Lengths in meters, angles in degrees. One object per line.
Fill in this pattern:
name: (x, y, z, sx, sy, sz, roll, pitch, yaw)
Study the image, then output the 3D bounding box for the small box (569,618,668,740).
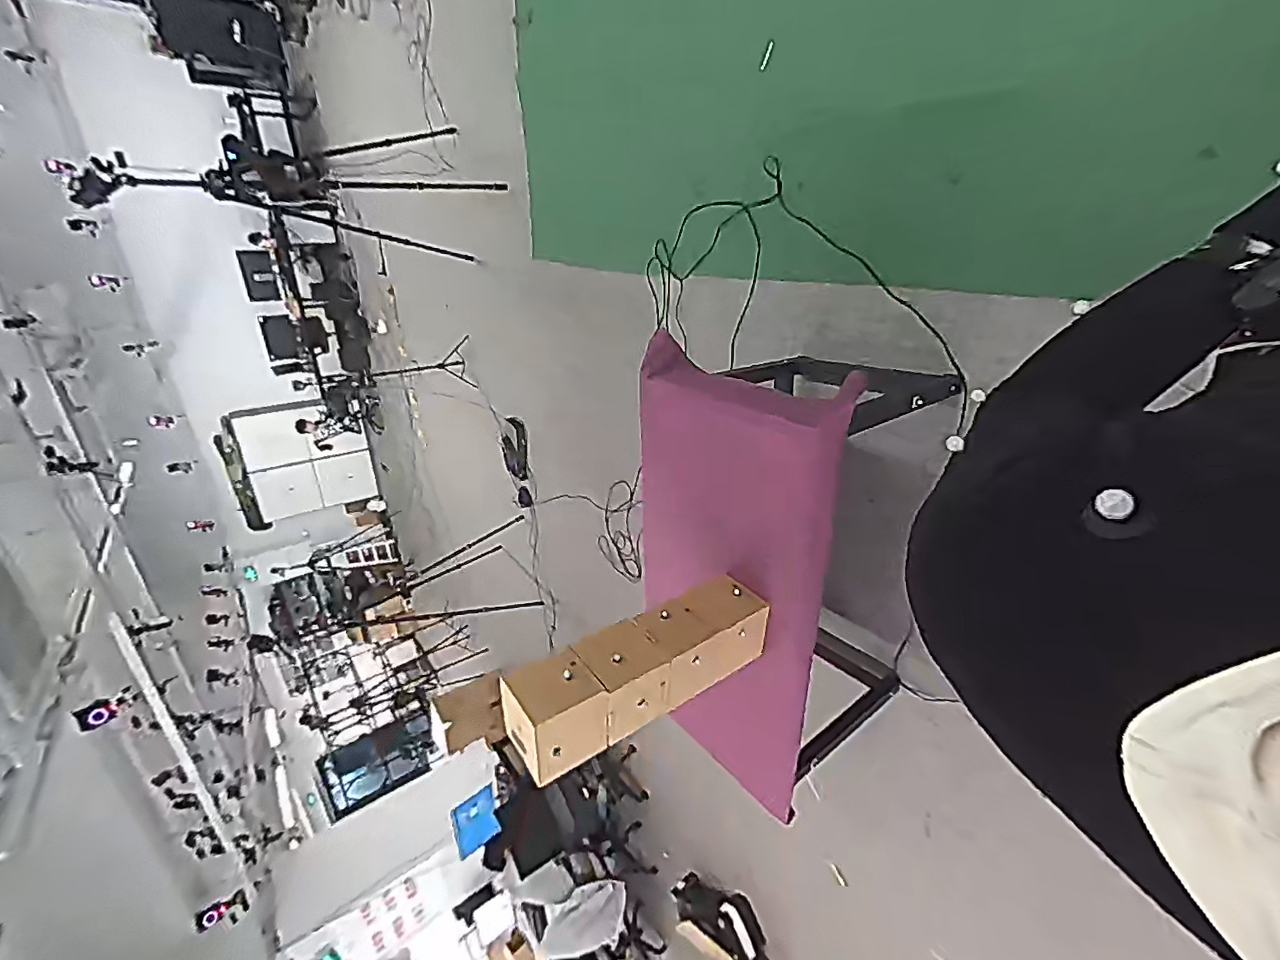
small box: (-0.053, 0.450, 1.255, 0.179, 0.176, 0.168, 32, 128, 45)

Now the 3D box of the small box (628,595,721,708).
small box: (0.082, 0.414, 1.339, 0.168, 0.176, 0.179, 33, 130, 45)

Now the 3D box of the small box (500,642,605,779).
small box: (-0.186, 0.488, 1.166, 0.168, 0.176, 0.179, 31, 127, 47)
